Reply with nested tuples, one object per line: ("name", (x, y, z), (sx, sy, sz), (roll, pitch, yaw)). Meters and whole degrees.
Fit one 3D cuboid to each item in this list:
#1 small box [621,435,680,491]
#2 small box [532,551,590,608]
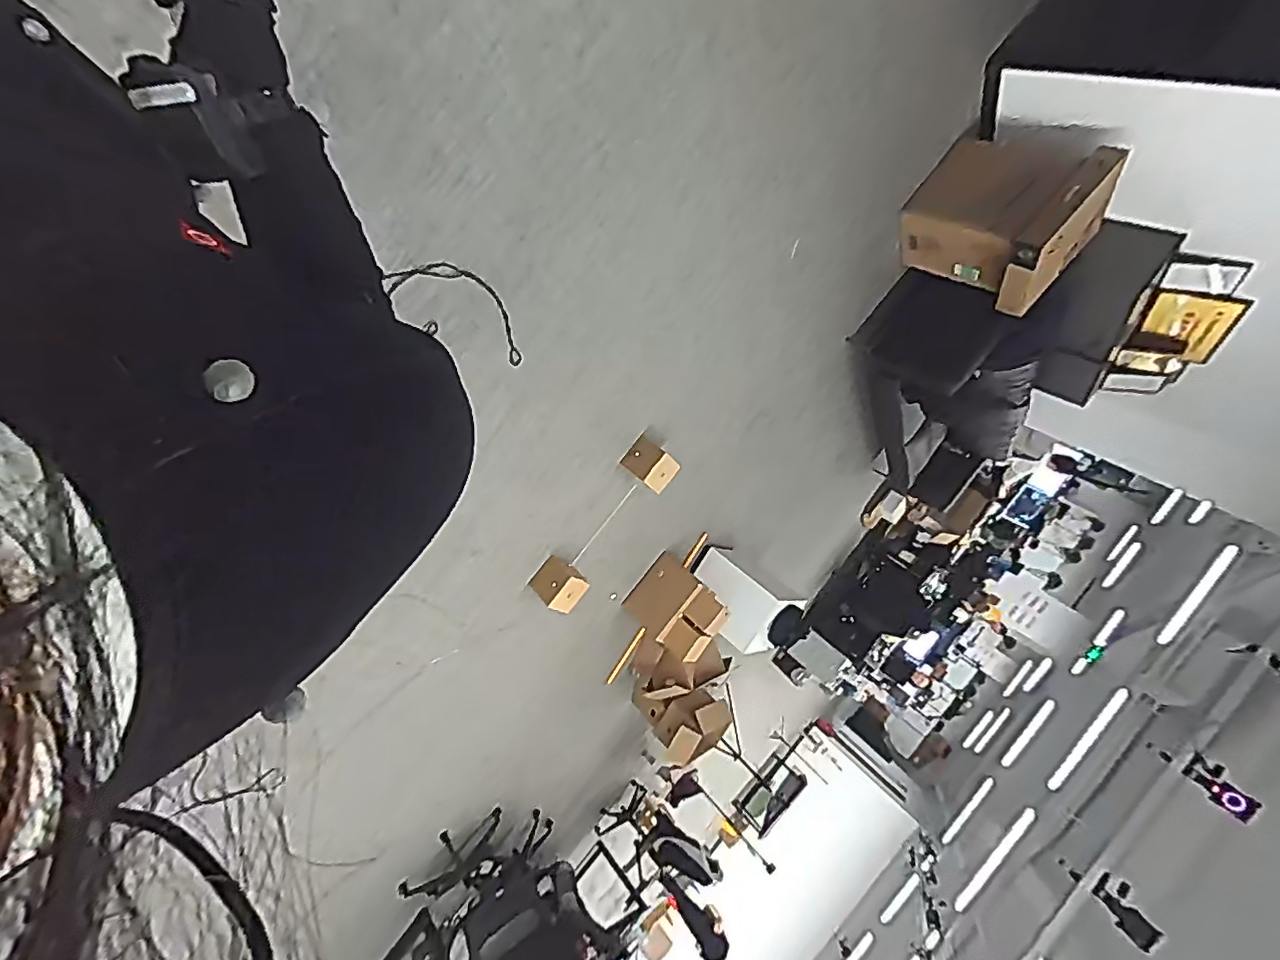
("small box", (0.048, -0.081, 2.479), (0.168, 0.176, 0.179), (-52, 146, 0))
("small box", (-0.372, 0.460, 2.489), (0.179, 0.176, 0.168), (-52, 146, -1))
